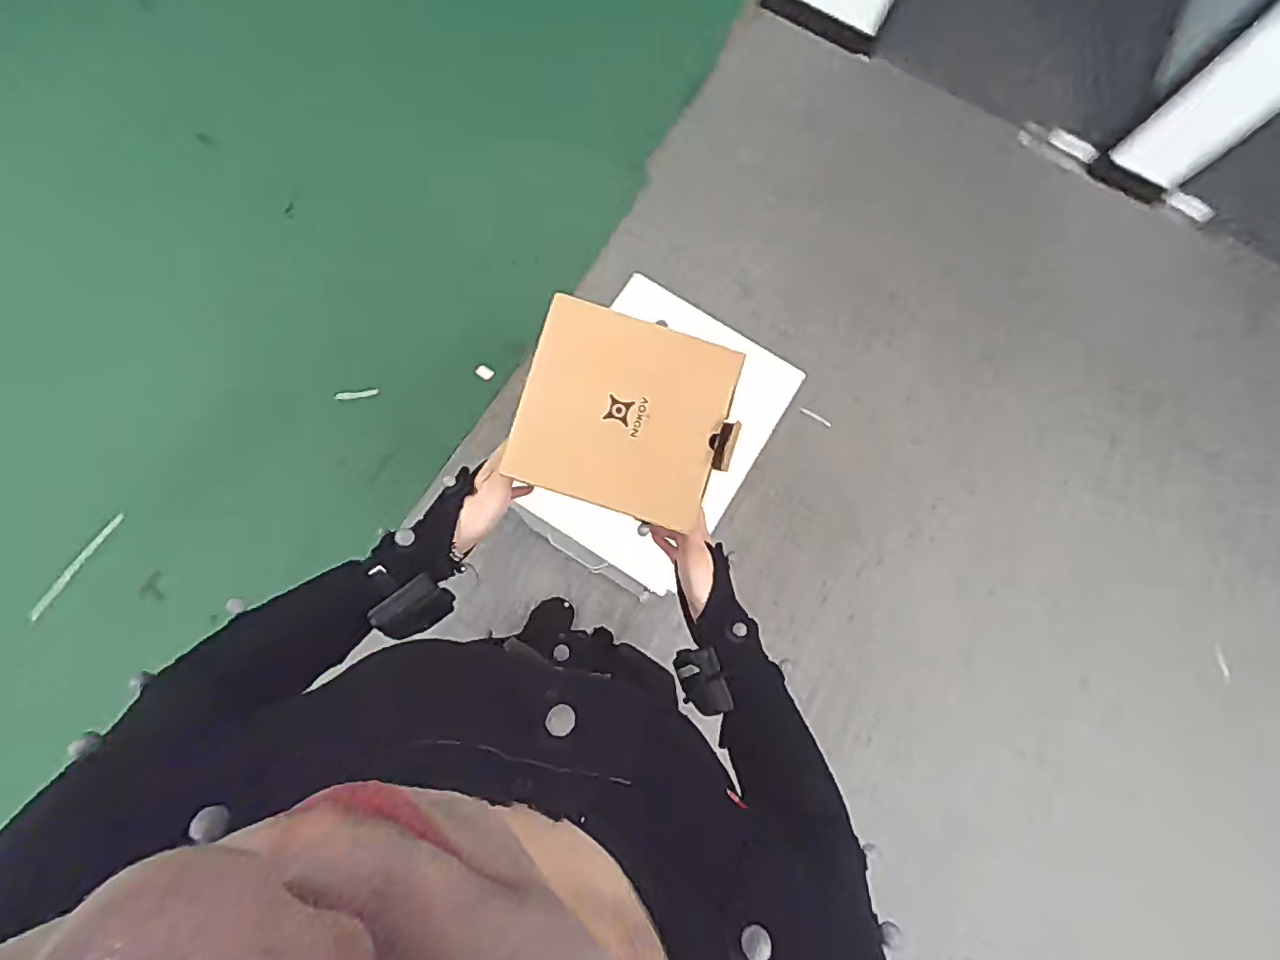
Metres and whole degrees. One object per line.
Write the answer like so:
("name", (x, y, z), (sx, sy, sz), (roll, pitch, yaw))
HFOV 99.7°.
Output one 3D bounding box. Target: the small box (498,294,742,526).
("small box", (-0.020, -0.057, 0.544), (0.179, 0.176, 0.168), (16, 87, -3))
